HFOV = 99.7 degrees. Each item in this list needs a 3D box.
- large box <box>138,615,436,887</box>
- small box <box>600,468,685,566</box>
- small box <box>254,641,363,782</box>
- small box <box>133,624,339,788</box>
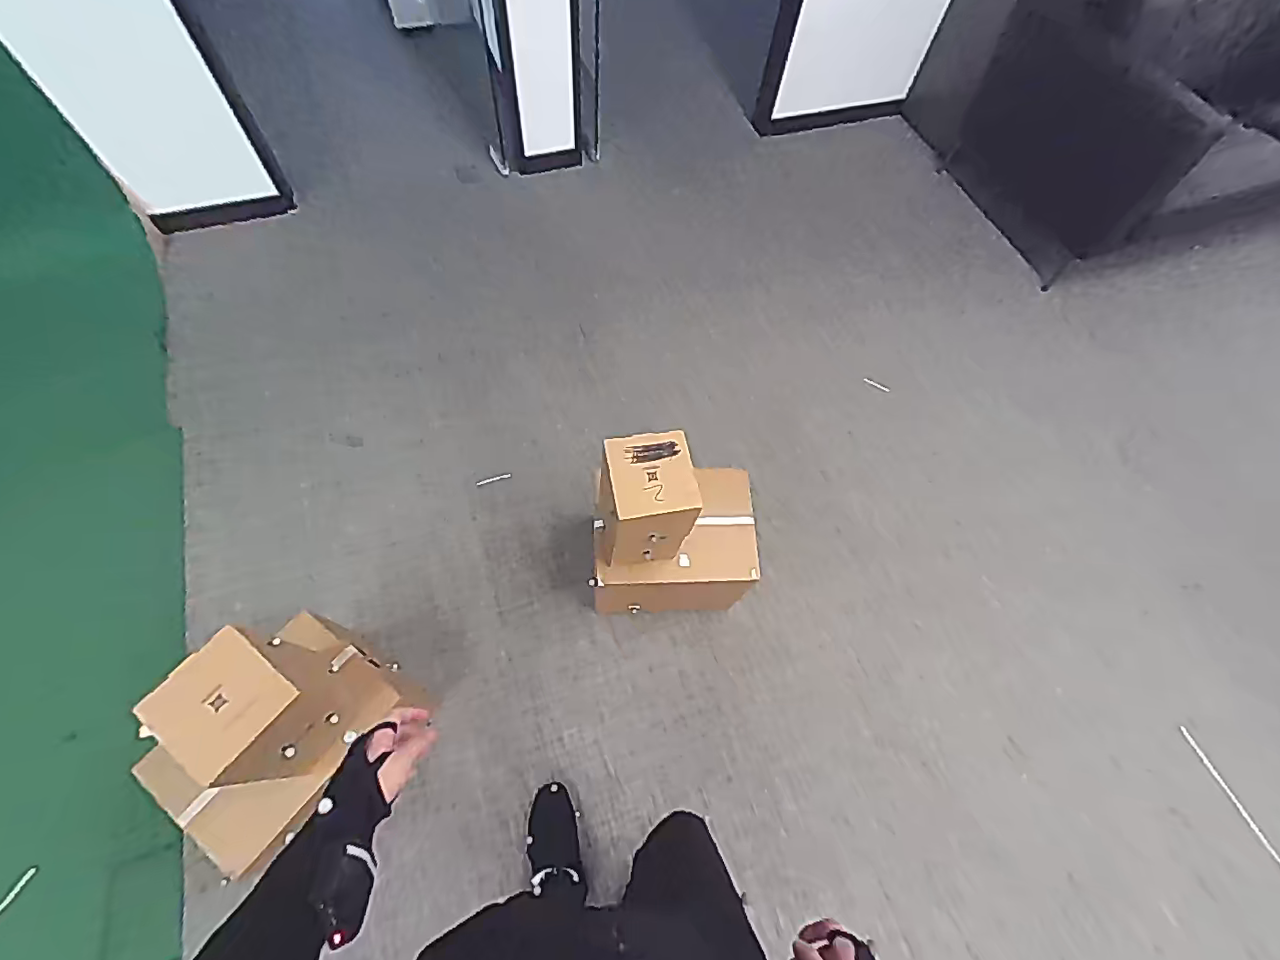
[{"bbox_3d":[-0.749,0.584,1.226,0.320,0.320,0.408,34,66,14],"label":"large box"},{"bbox_3d":[-0.001,0.093,1.264,0.168,0.176,0.179,-7,65,-9],"label":"small box"},{"bbox_3d":[-0.662,0.439,1.029,0.168,0.176,0.179,34,66,12],"label":"small box"},{"bbox_3d":[-0.642,0.369,0.884,0.179,0.176,0.168,36,67,12],"label":"small box"}]
